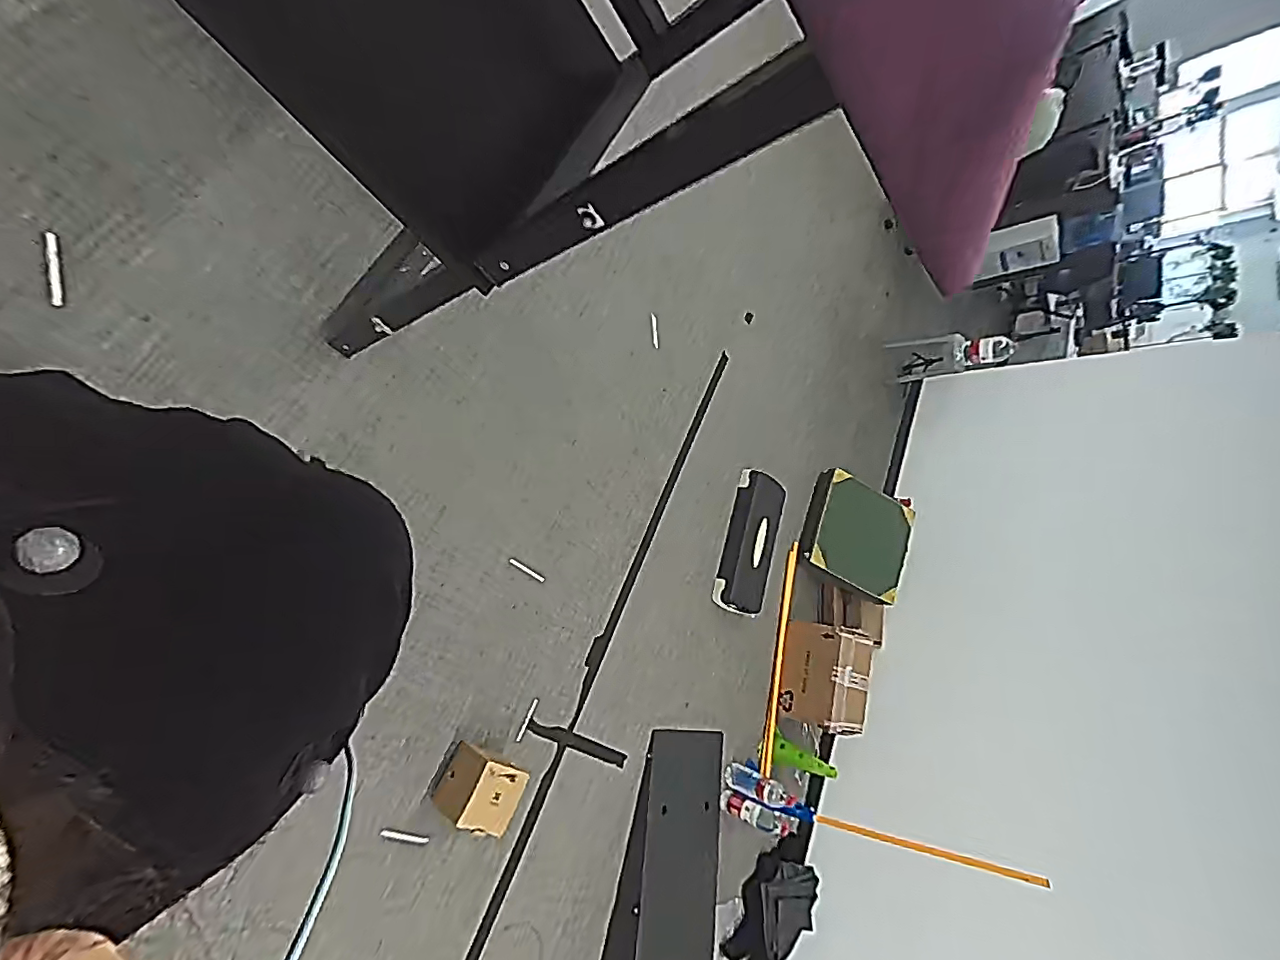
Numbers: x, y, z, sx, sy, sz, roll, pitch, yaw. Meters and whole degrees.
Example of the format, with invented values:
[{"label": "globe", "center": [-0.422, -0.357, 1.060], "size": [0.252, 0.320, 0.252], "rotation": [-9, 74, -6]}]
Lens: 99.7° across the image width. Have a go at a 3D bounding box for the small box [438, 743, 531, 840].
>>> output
[{"label": "small box", "center": [-0.456, 0.898, 1.565], "size": [0.168, 0.176, 0.179], "rotation": [43, 62, -35]}]
